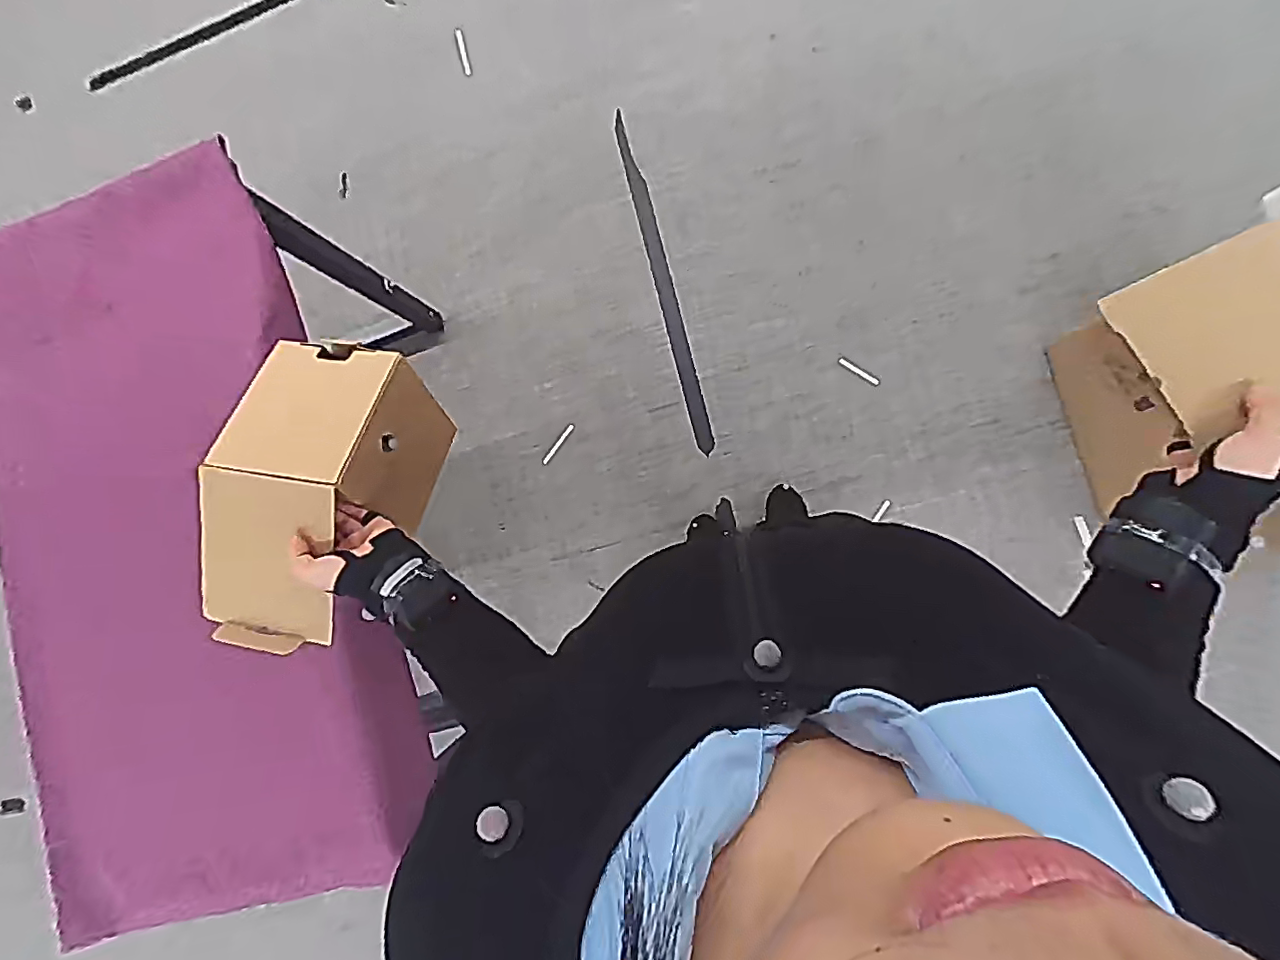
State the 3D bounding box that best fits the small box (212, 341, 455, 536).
[{"bbox_3d":[-0.357,-0.045,0.672,0.168,0.176,0.179,8,63,10],"label":"small box"}]
